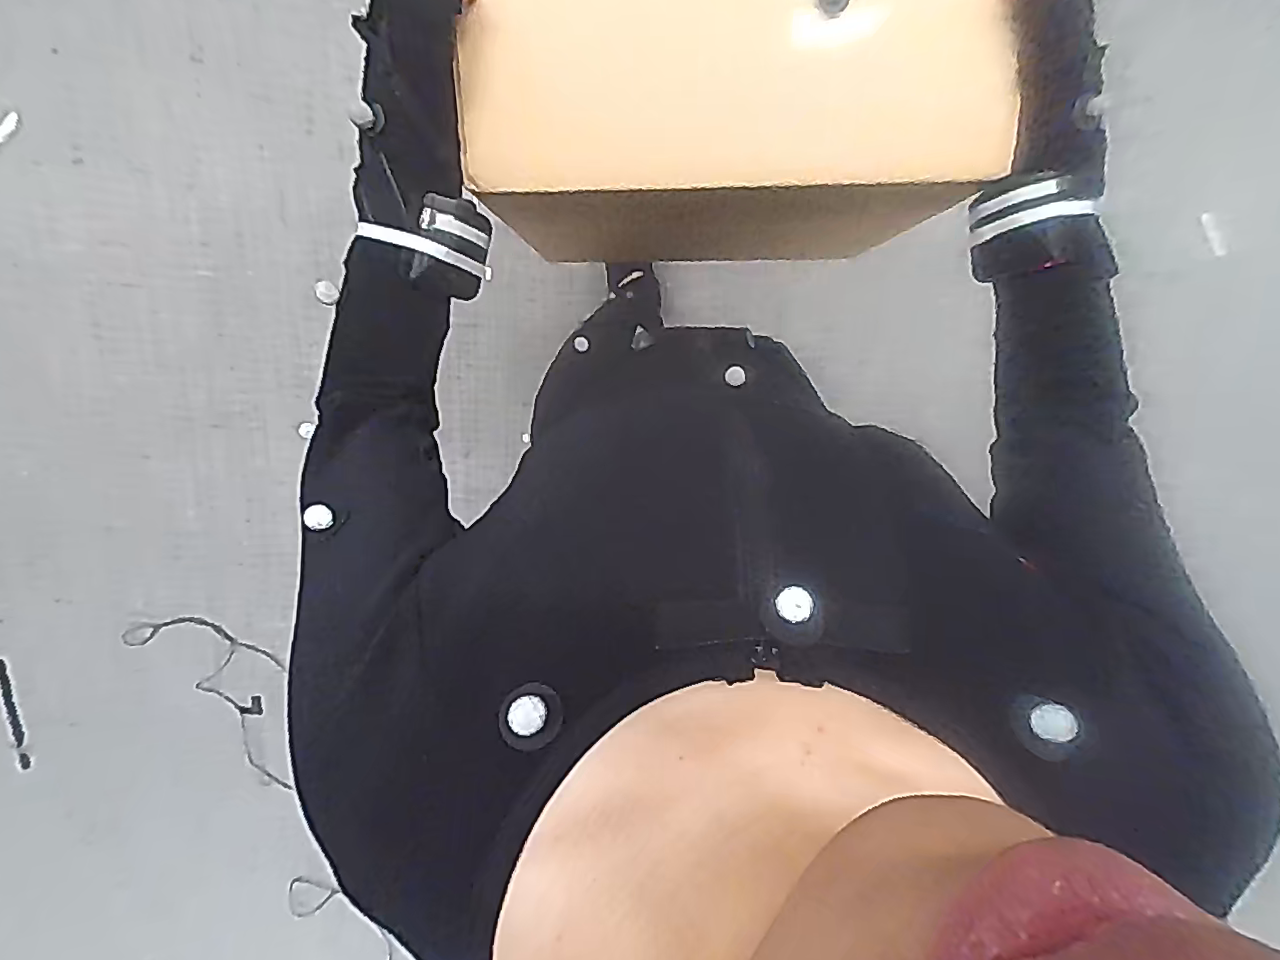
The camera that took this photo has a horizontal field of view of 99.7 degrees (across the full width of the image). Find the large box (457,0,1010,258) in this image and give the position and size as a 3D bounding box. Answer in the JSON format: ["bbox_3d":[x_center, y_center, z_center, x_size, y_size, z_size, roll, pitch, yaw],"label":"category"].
[{"bbox_3d":[0.065,-0.414,0.525,0.408,0.320,0.320,-1,102,1],"label":"large box"}]
